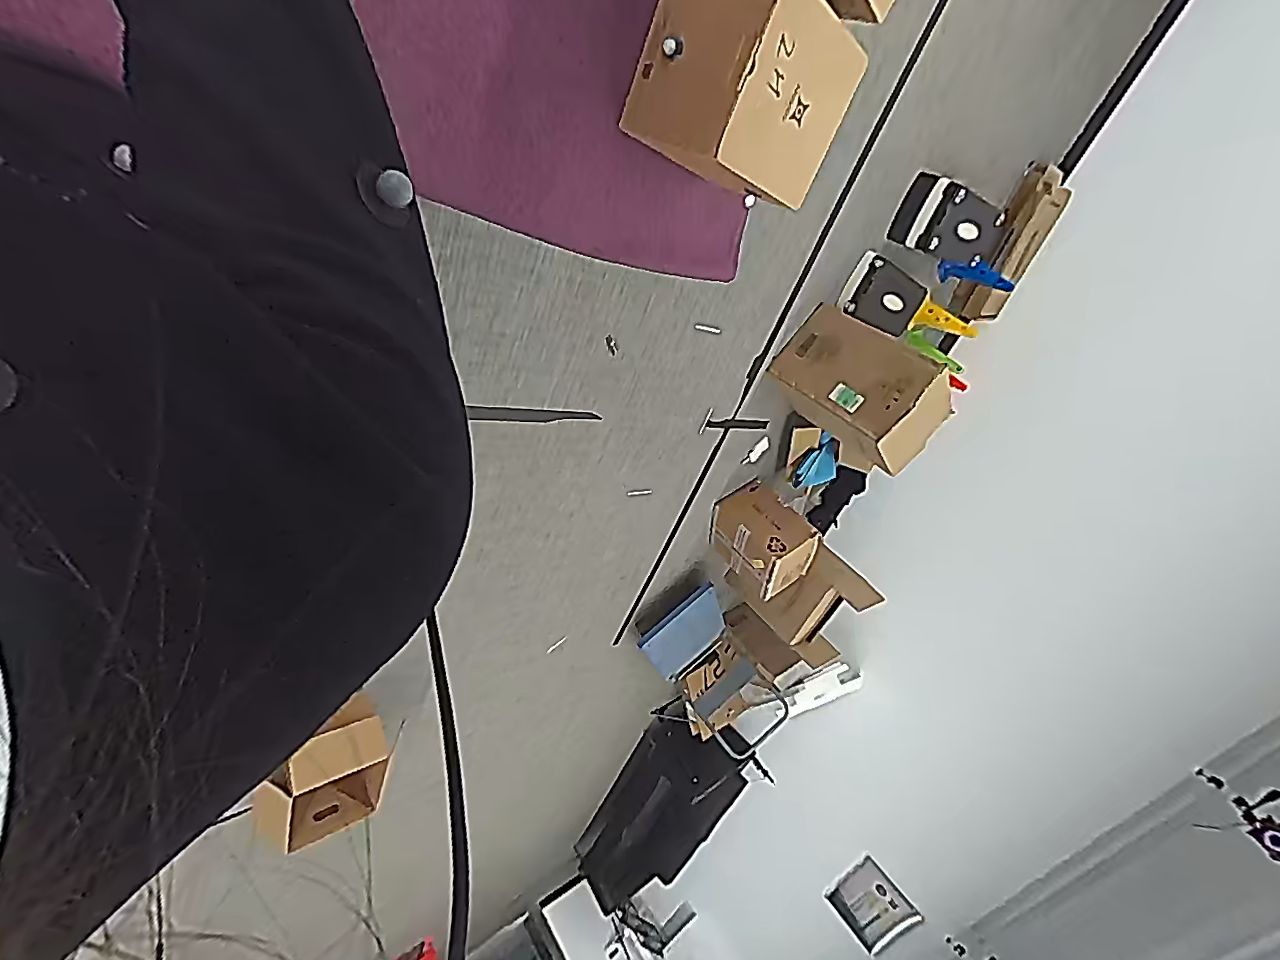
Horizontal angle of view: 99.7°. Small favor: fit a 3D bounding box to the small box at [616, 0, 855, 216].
[{"bbox_3d":[0.105,-0.439,0.627,0.179,0.176,0.168,-2,125,-46],"label":"small box"}]
